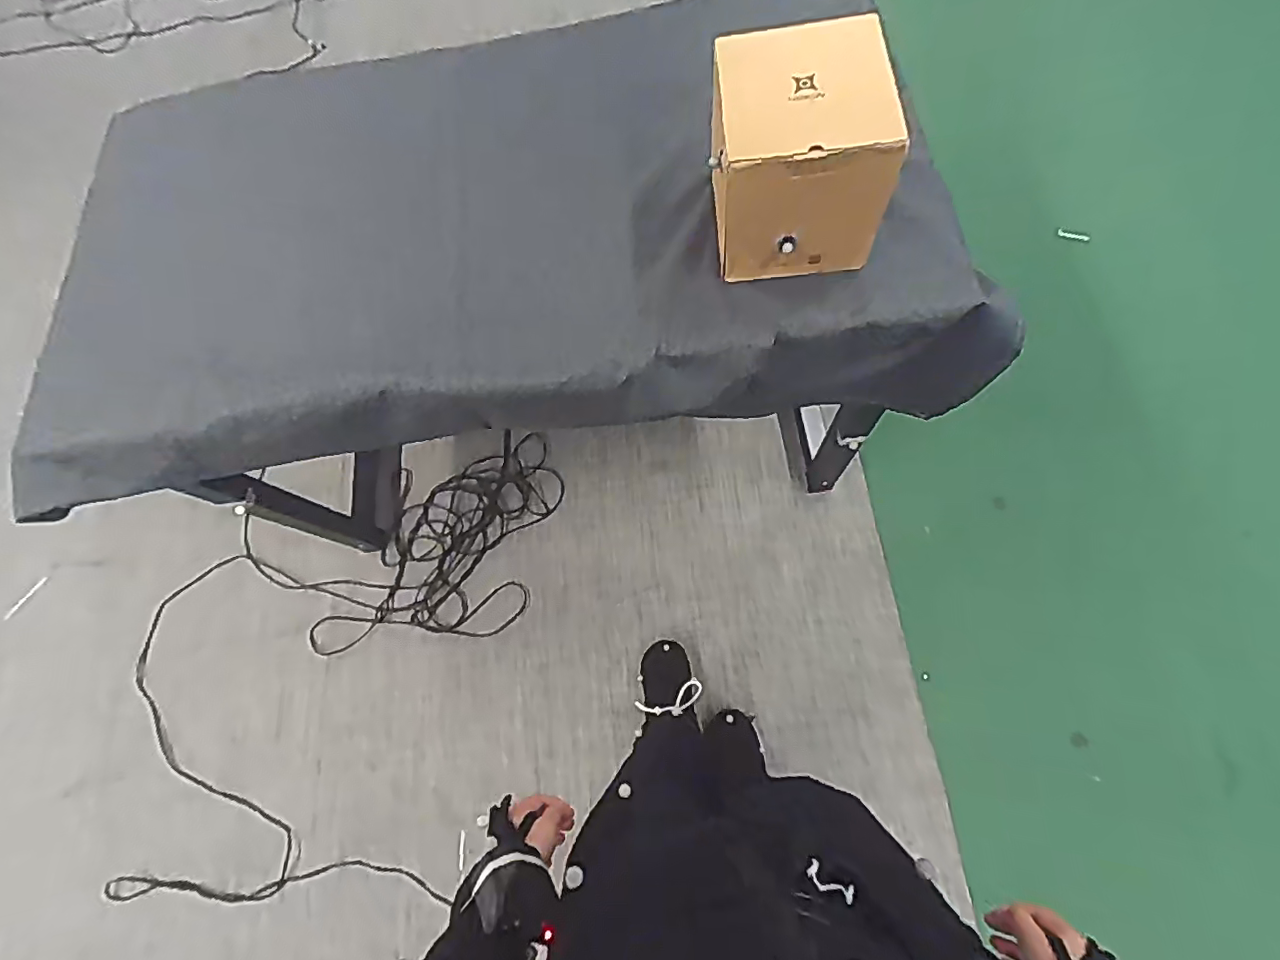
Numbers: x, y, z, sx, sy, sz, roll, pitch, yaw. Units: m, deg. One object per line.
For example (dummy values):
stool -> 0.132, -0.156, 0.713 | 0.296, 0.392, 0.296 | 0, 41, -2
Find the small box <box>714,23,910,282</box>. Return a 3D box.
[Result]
small box -> 0.172, -0.351, 0.602 | 0.168, 0.176, 0.179 | -4, 70, 6
